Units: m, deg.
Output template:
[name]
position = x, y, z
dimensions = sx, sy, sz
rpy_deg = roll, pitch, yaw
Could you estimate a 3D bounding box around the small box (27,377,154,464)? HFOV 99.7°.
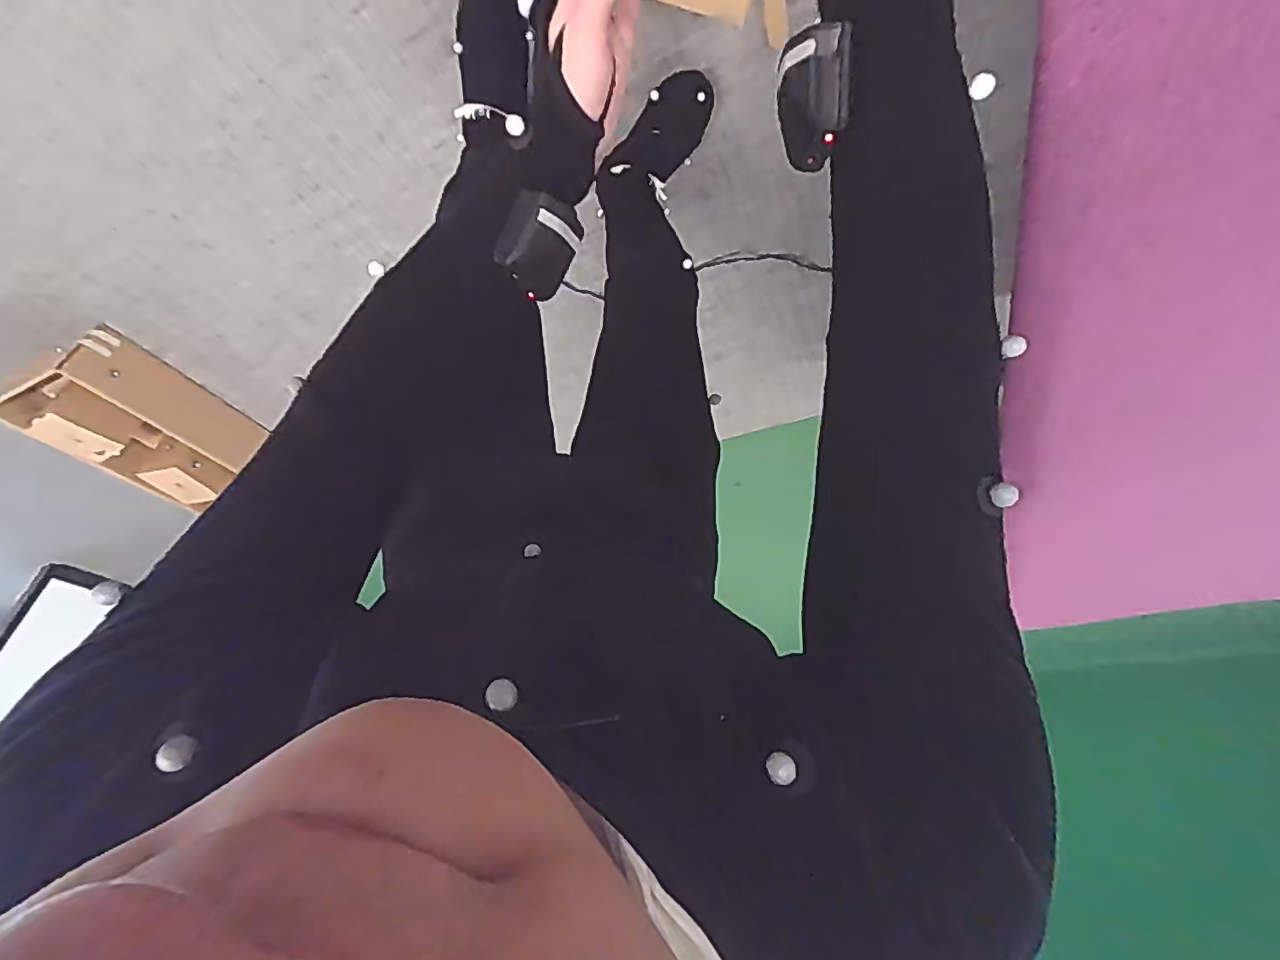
[small box]
position = -1.587, -0.178, 1.571
dimensions = 0.168, 0.176, 0.179
rpy_deg = -17, 141, 24
